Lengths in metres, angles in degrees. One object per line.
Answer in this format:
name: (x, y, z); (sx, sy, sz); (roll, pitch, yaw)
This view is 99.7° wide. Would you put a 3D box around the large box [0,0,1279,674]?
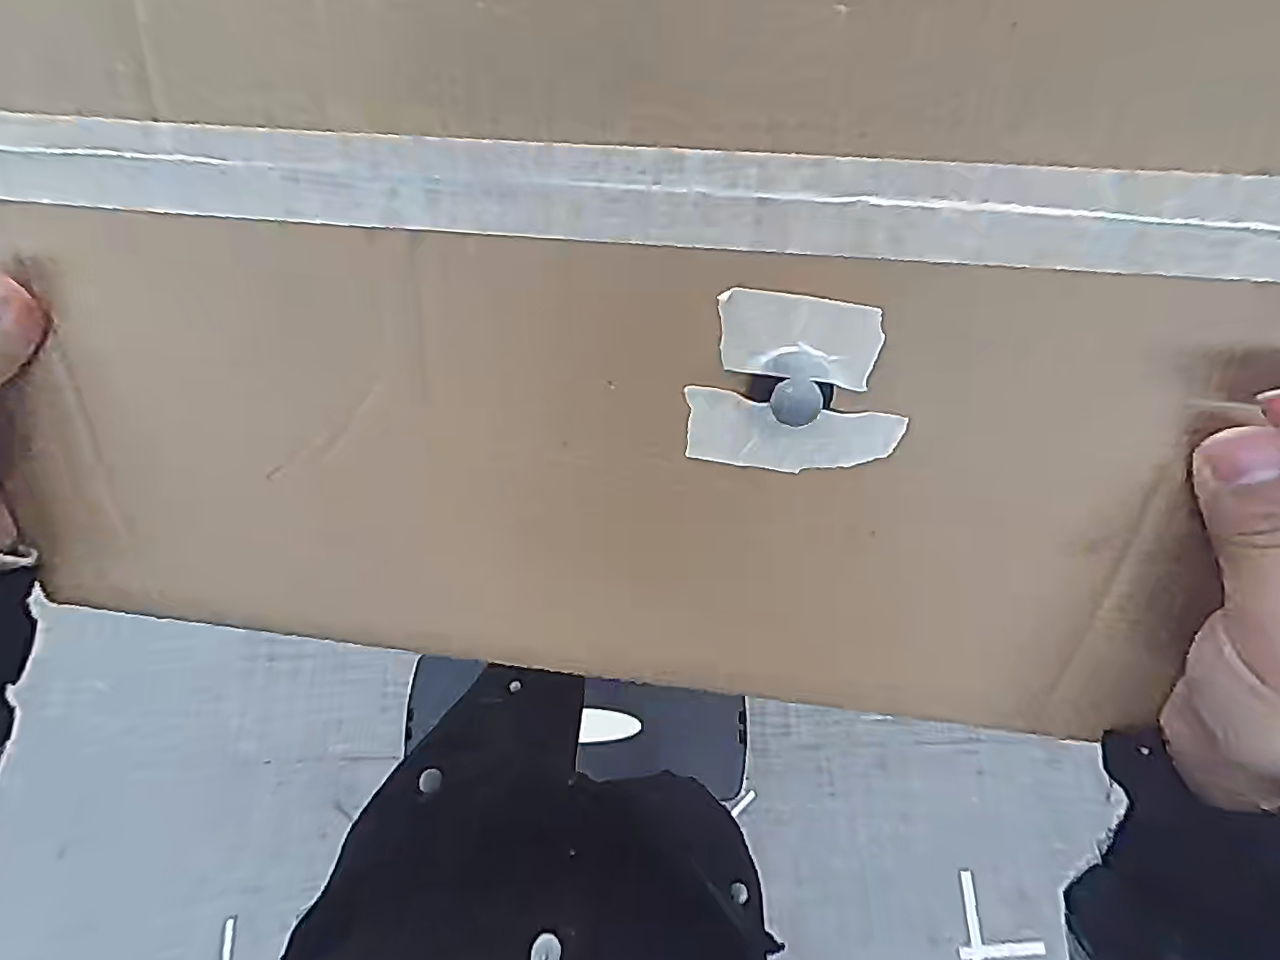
large box: (-0.003, -0.139, 0.290); (0.408, 0.320, 0.320); (5, 113, 4)
